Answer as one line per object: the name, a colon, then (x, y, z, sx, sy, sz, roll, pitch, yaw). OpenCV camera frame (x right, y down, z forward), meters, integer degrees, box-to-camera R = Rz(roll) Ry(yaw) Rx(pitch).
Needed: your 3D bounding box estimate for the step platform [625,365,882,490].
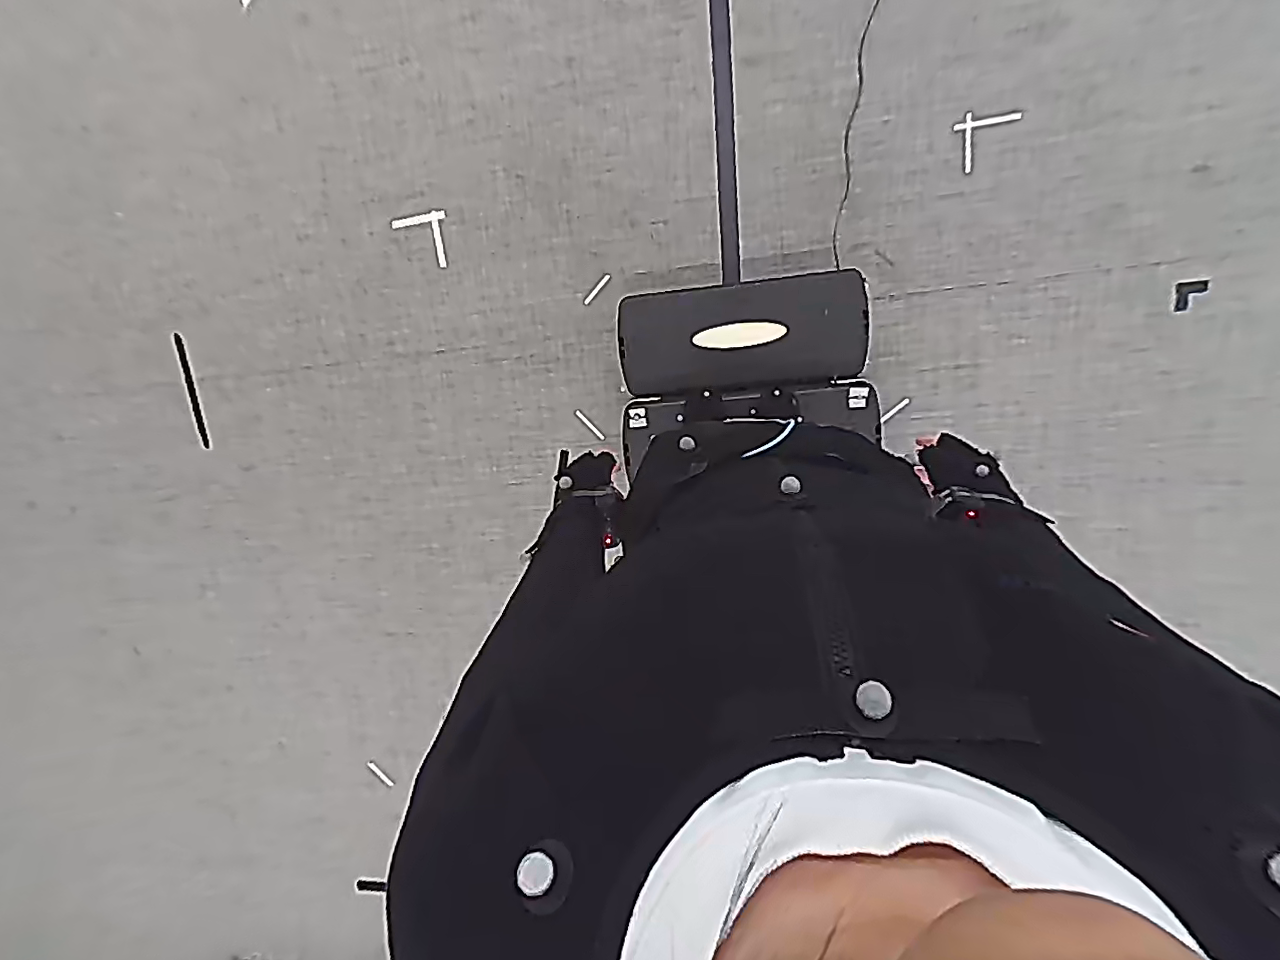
step platform: (0.299, -0.140, 1.500, 0.684, 0.204, 0.286, -5, 100, 11)
